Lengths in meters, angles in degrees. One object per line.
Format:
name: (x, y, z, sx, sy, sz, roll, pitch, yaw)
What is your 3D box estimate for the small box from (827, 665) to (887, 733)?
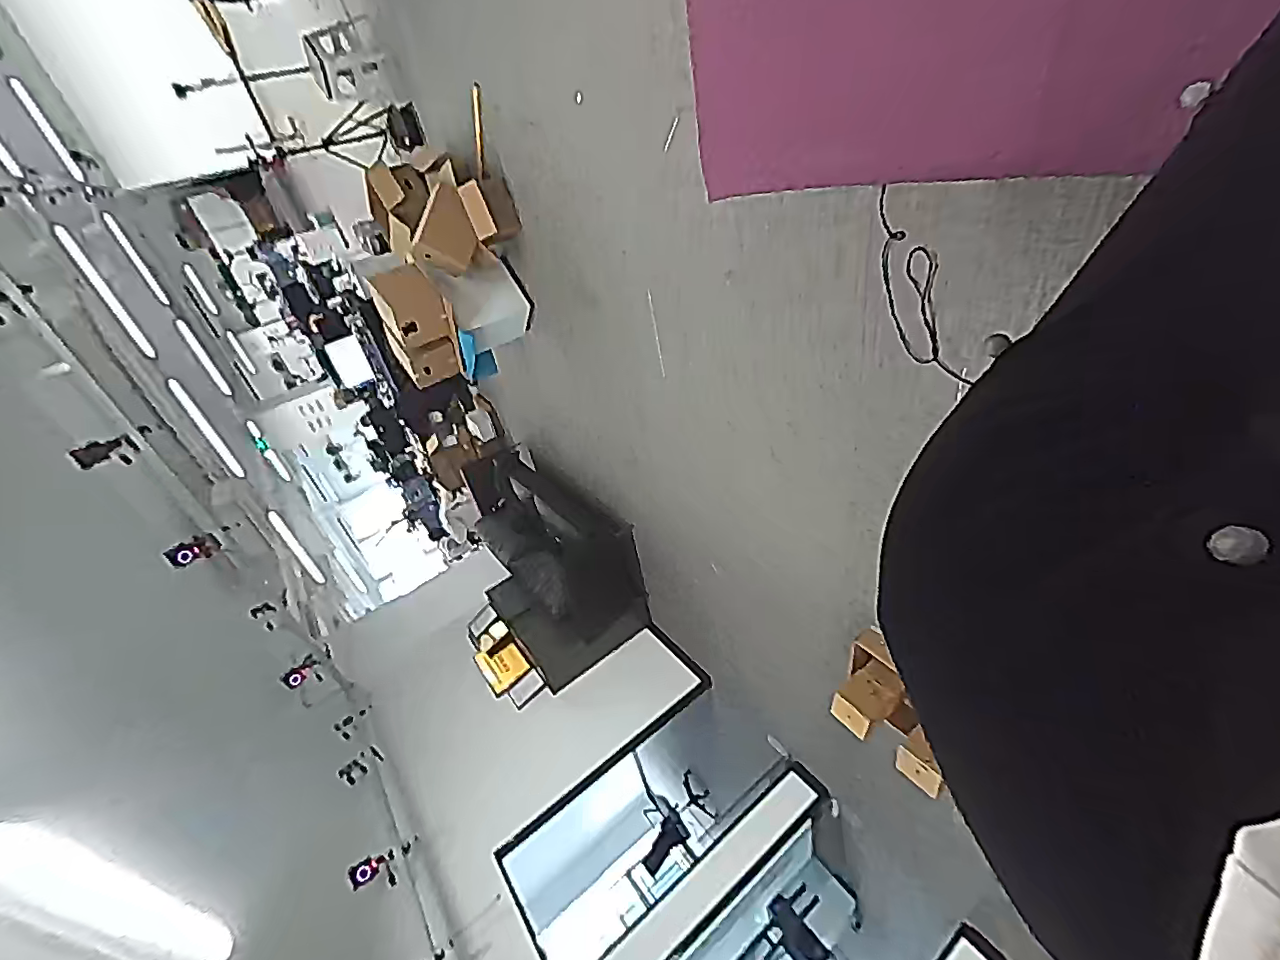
small box: (0.927, 0.934, 2.311, 0.168, 0.176, 0.179, 38, 147, 40)

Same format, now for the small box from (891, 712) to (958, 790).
small box: (1.105, 1.050, 2.099, 0.168, 0.176, 0.179, 32, 145, 45)
